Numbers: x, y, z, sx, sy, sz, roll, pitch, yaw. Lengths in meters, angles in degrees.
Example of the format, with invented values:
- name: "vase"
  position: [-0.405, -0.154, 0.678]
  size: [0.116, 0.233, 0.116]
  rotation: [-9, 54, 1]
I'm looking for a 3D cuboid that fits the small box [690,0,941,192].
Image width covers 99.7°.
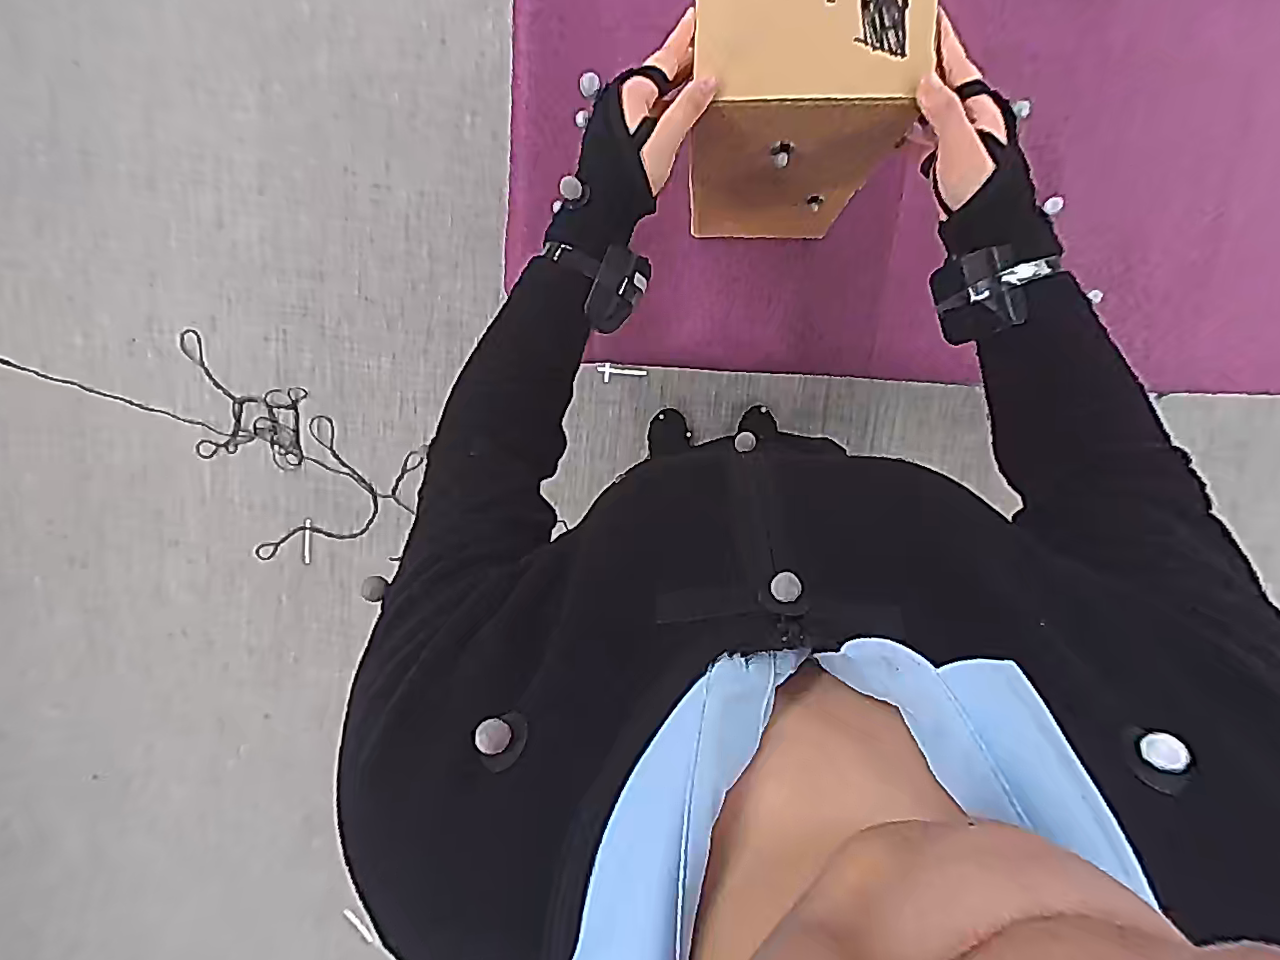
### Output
- name: "small box"
  position: [0.136, -0.369, 0.468]
  size: [0.179, 0.176, 0.168]
  rotation: [3, 97, 5]

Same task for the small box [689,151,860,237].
- name: "small box"
  position: [0.150, -0.393, 0.630]
  size: [0.179, 0.176, 0.168]
  rotation: [3, 97, 5]
